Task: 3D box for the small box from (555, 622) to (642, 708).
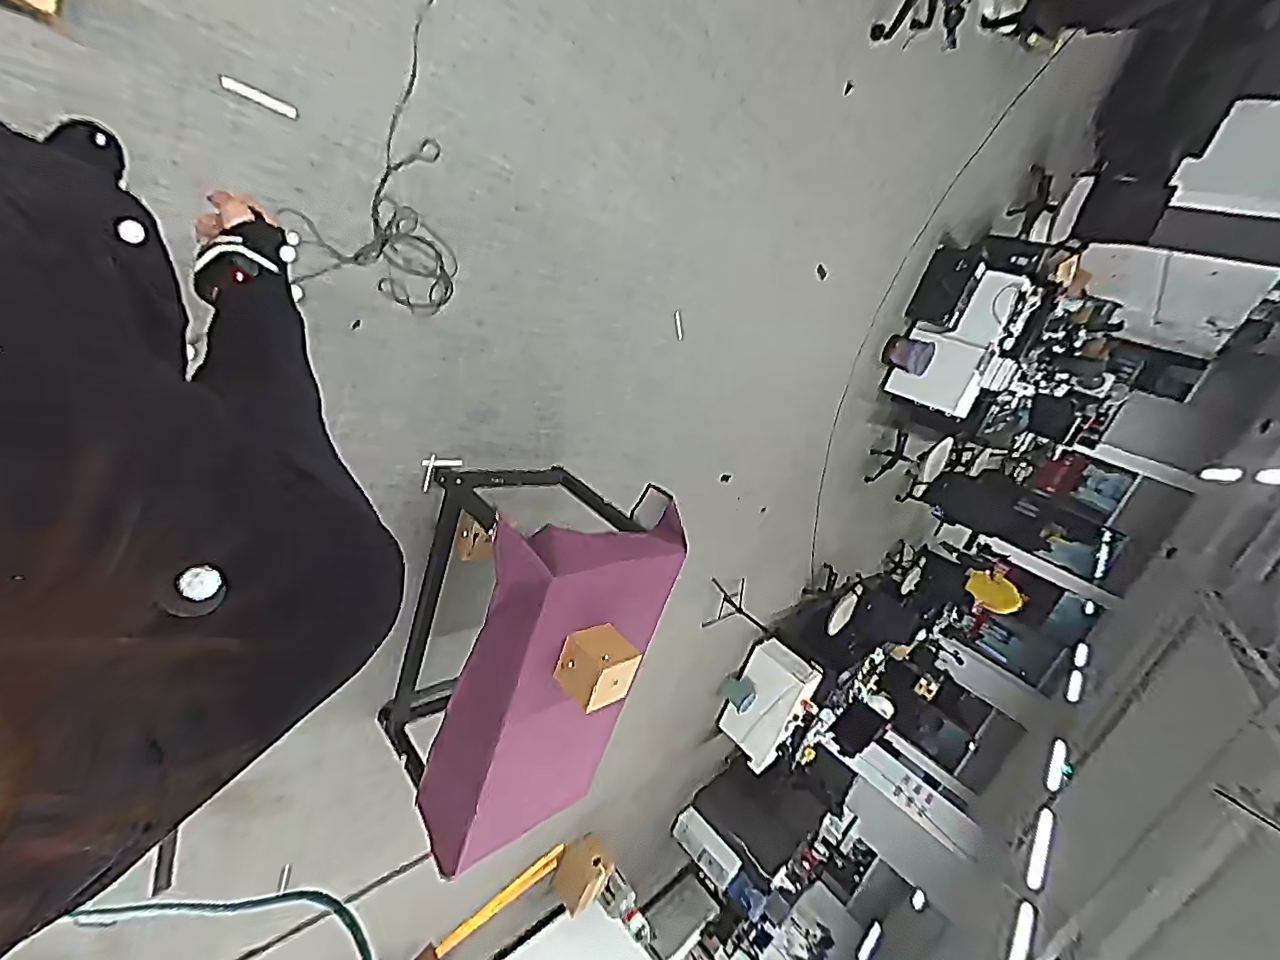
[{"bbox_3d":[-0.132,0.562,1.675,0.179,0.176,0.168,-1,118,-48],"label":"small box"}]
